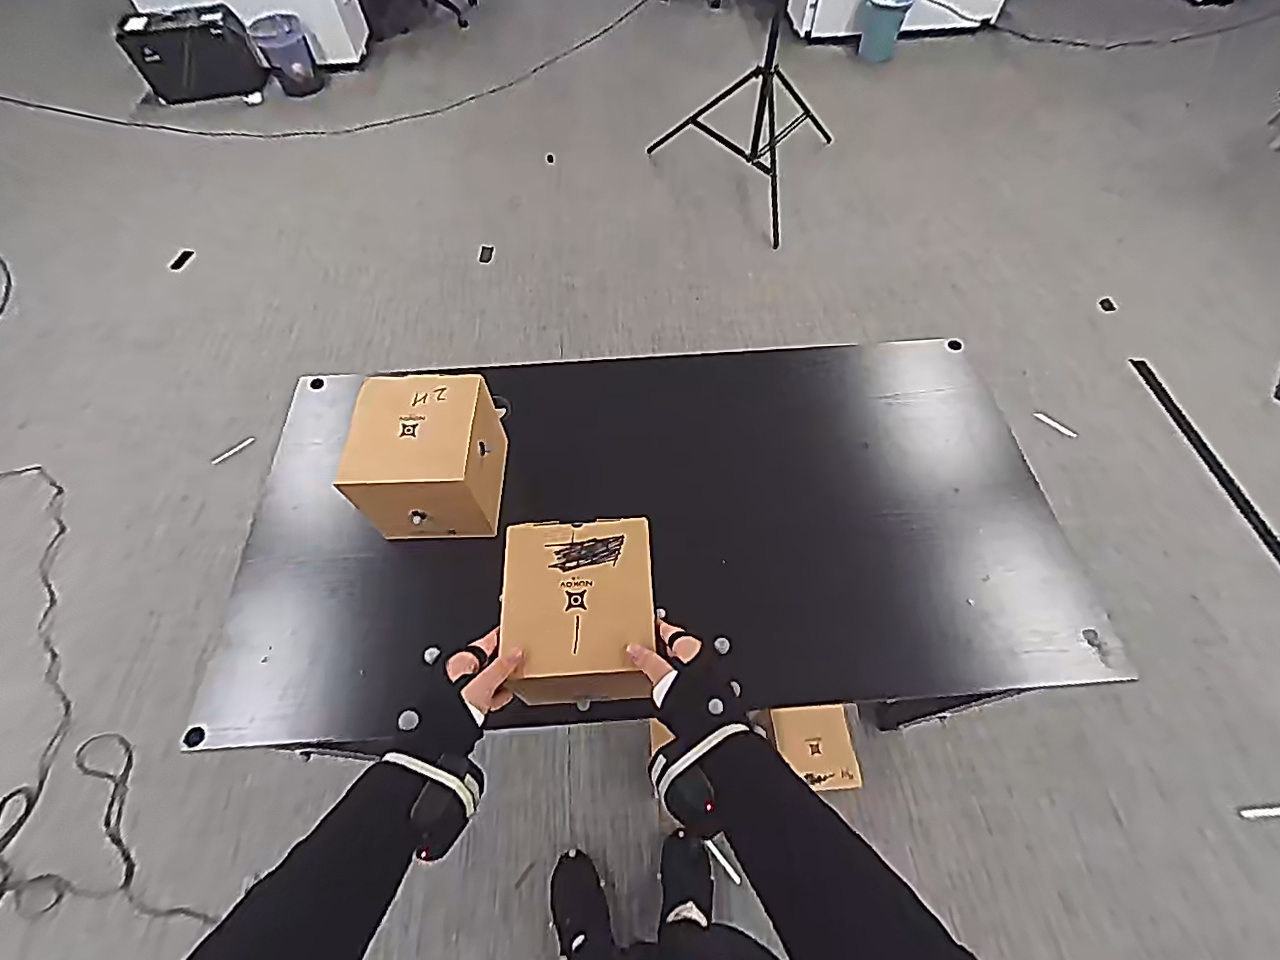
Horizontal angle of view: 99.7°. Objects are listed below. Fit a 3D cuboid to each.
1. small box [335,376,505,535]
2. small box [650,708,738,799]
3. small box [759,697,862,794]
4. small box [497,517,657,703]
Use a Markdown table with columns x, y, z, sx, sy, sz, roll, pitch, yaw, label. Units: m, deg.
| x | y | z | sx | sy | sz | roll | pitch | yaw | label |
| --- | --- | --- | --- | --- | --- | --- | --- | --- | --- |
| -0.300 | -0.027 | 0.781 | 0.168 | 0.176 | 0.179 | -1 | 59 | 0 | small box |
| 0.115 | 0.625 | 1.232 | 0.179 | 0.176 | 0.168 | -5 | 58 | -1 | small box |
| 0.377 | 0.609 | 1.234 | 0.168 | 0.176 | 0.179 | -5 | 59 | -1 | small box |
| -0.068 | 0.163 | 0.662 | 0.168 | 0.176 | 0.179 | -4 | 59 | -1 | small box |
